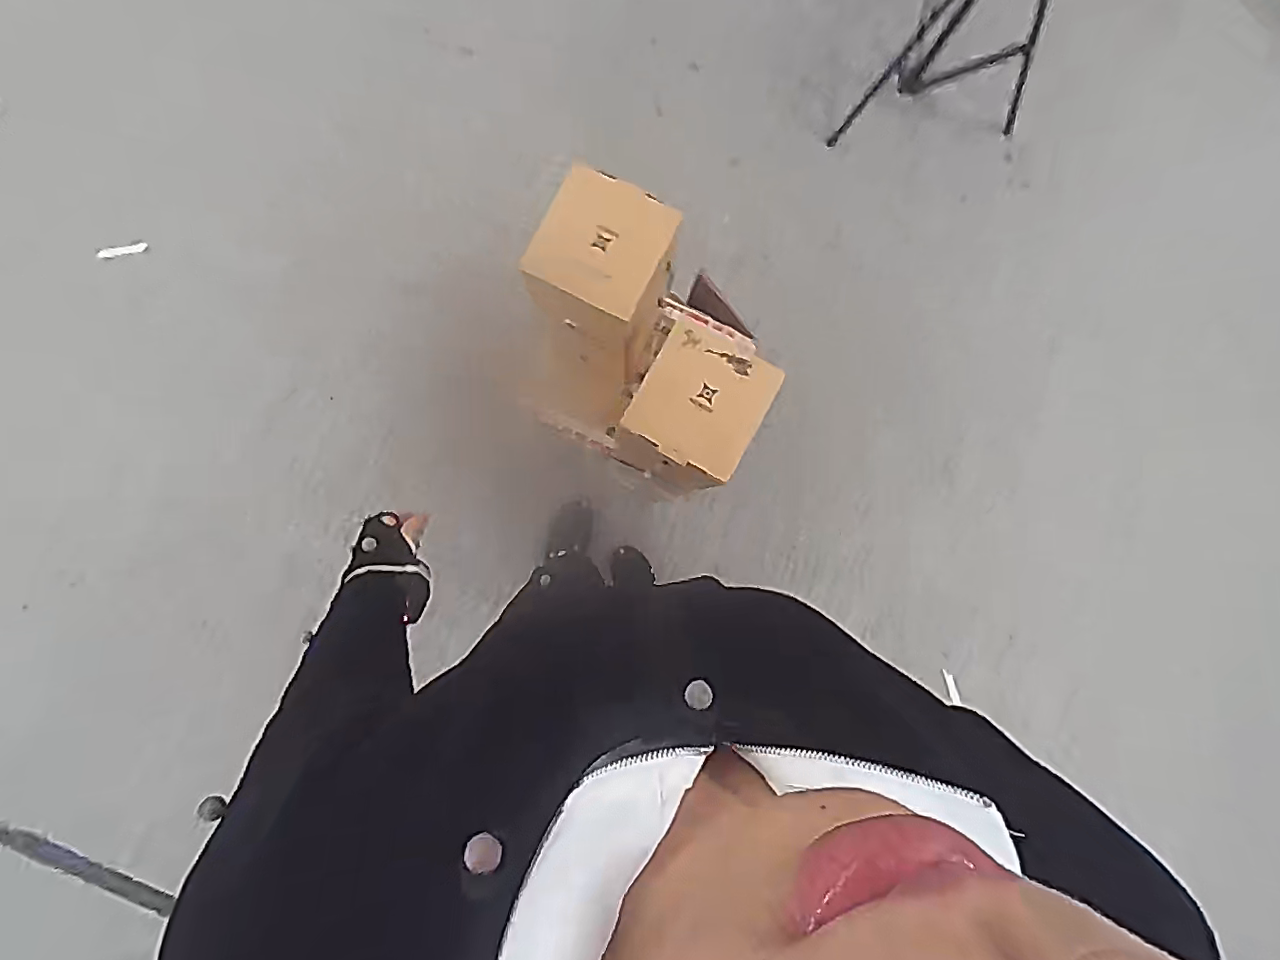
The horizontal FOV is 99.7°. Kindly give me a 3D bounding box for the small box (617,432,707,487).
[{"bbox_3d":[0.065,-0.099,0.964,0.168,0.176,0.179,26,86,-2],"label":"small box"}]

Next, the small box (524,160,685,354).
[{"bbox_3d":[-0.052,-0.319,0.808,0.168,0.176,0.179,26,85,0],"label":"small box"}]

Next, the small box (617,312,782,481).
[{"bbox_3d":[0.078,-0.109,0.801,0.168,0.176,0.179,30,85,-2],"label":"small box"}]

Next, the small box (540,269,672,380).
[{"bbox_3d":[-0.061,-0.307,0.970,0.168,0.176,0.179,26,85,0],"label":"small box"}]
